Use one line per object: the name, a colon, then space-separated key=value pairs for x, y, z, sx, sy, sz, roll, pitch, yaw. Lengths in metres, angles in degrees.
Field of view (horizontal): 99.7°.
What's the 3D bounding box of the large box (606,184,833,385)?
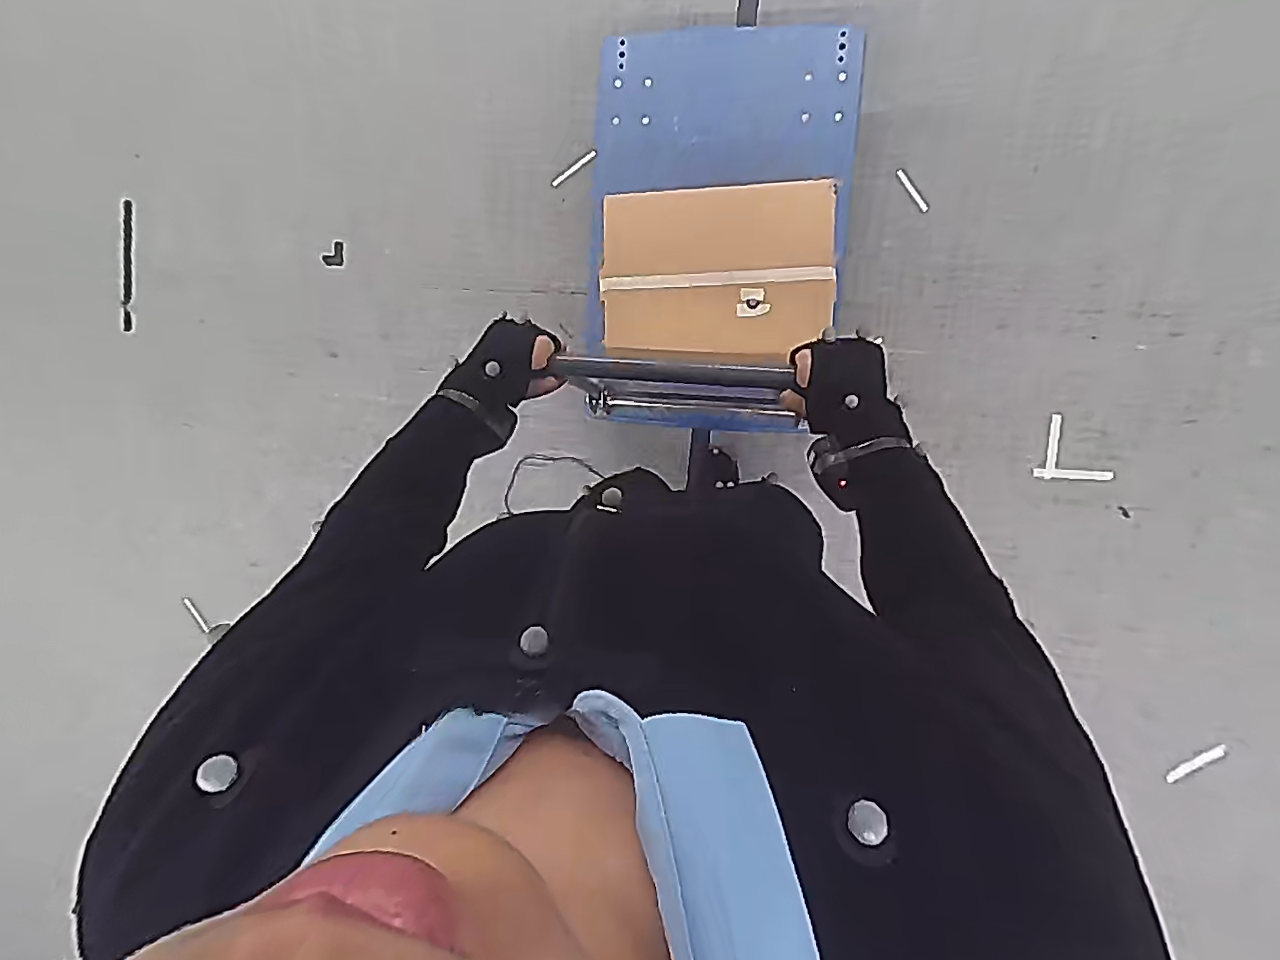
large box: x=0.156 y=-0.368 z=1.115 sx=0.408 sy=0.320 sz=0.320 roll=1 pitch=96 yaw=8
